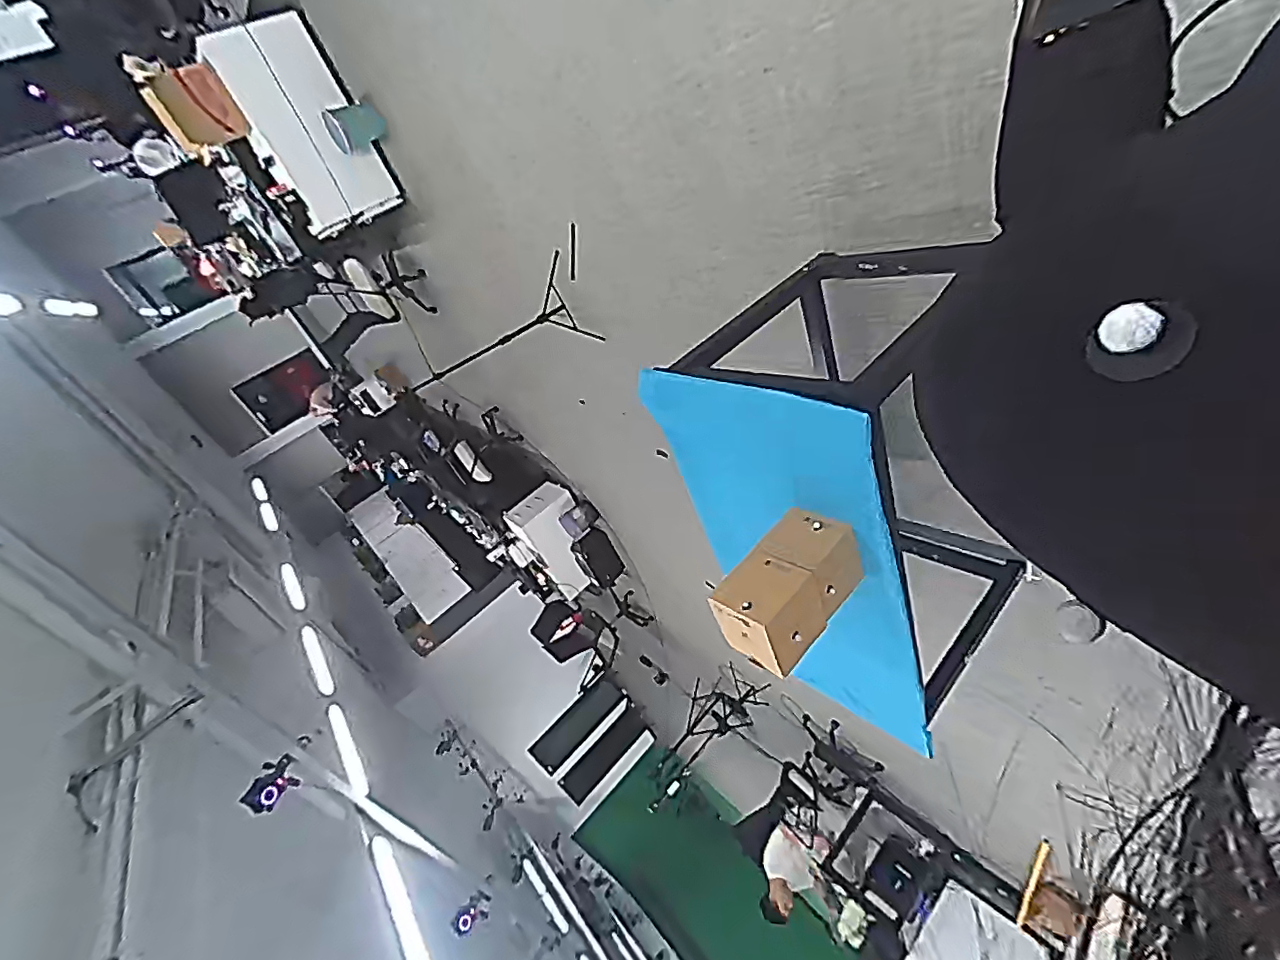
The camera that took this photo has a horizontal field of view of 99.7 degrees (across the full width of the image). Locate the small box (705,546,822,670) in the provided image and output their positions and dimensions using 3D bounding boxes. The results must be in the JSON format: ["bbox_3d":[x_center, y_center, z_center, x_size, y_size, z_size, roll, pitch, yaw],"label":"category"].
[{"bbox_3d":[0.283,0.281,1.219,0.168,0.176,0.179,17,140,53],"label":"small box"}]

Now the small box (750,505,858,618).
[{"bbox_3d":[0.397,0.190,1.291,0.168,0.176,0.179,20,144,49],"label":"small box"}]
